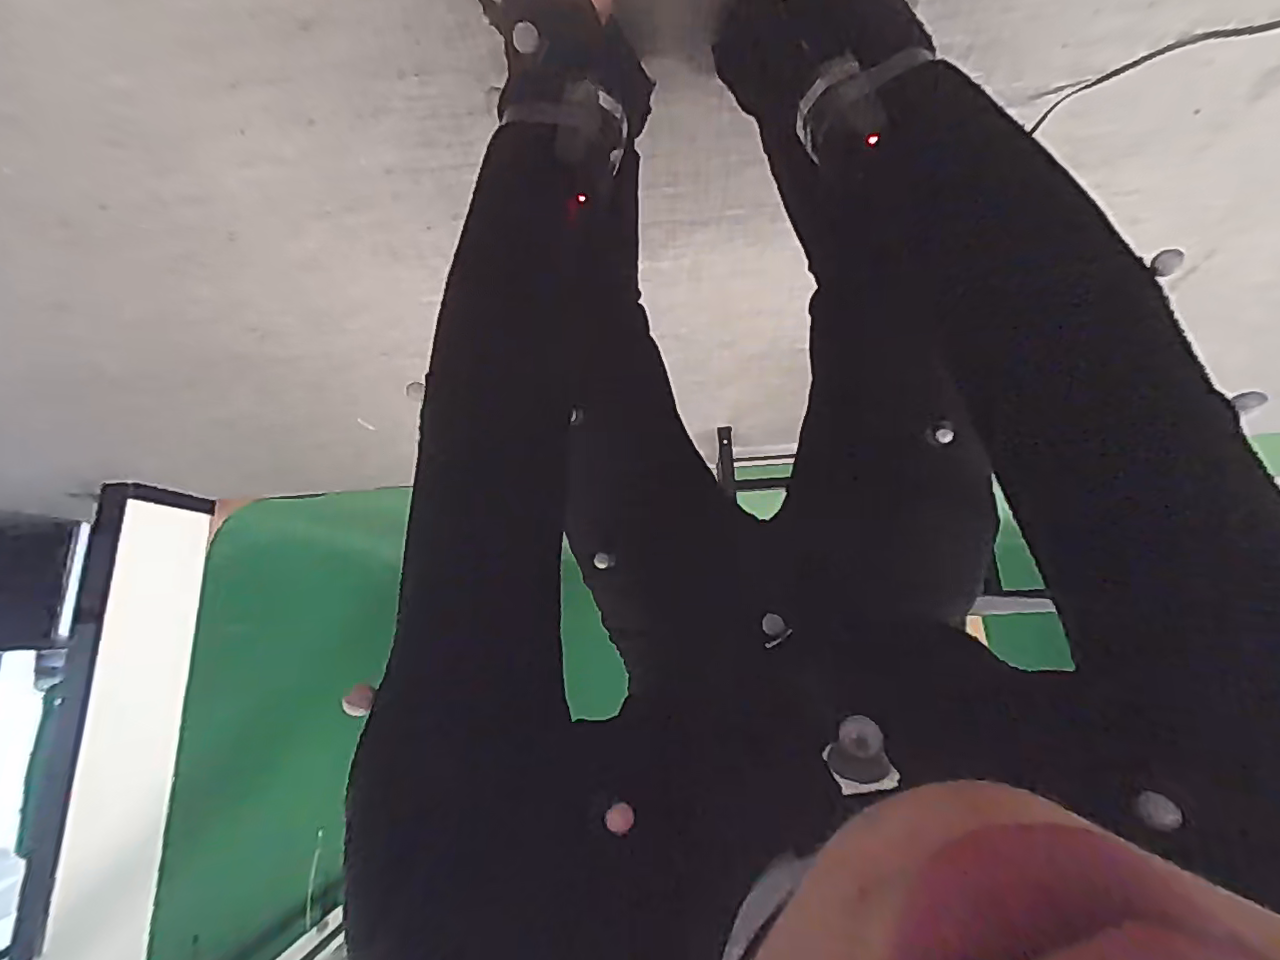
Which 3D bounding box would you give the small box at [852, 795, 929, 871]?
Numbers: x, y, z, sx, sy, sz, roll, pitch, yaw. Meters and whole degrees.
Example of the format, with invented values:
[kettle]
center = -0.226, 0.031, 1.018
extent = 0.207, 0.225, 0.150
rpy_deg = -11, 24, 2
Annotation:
[small box]
center = 0.844, 1.190, 1.837
extent = 0.168, 0.176, 0.179
rpy_deg = 2, 164, -16
